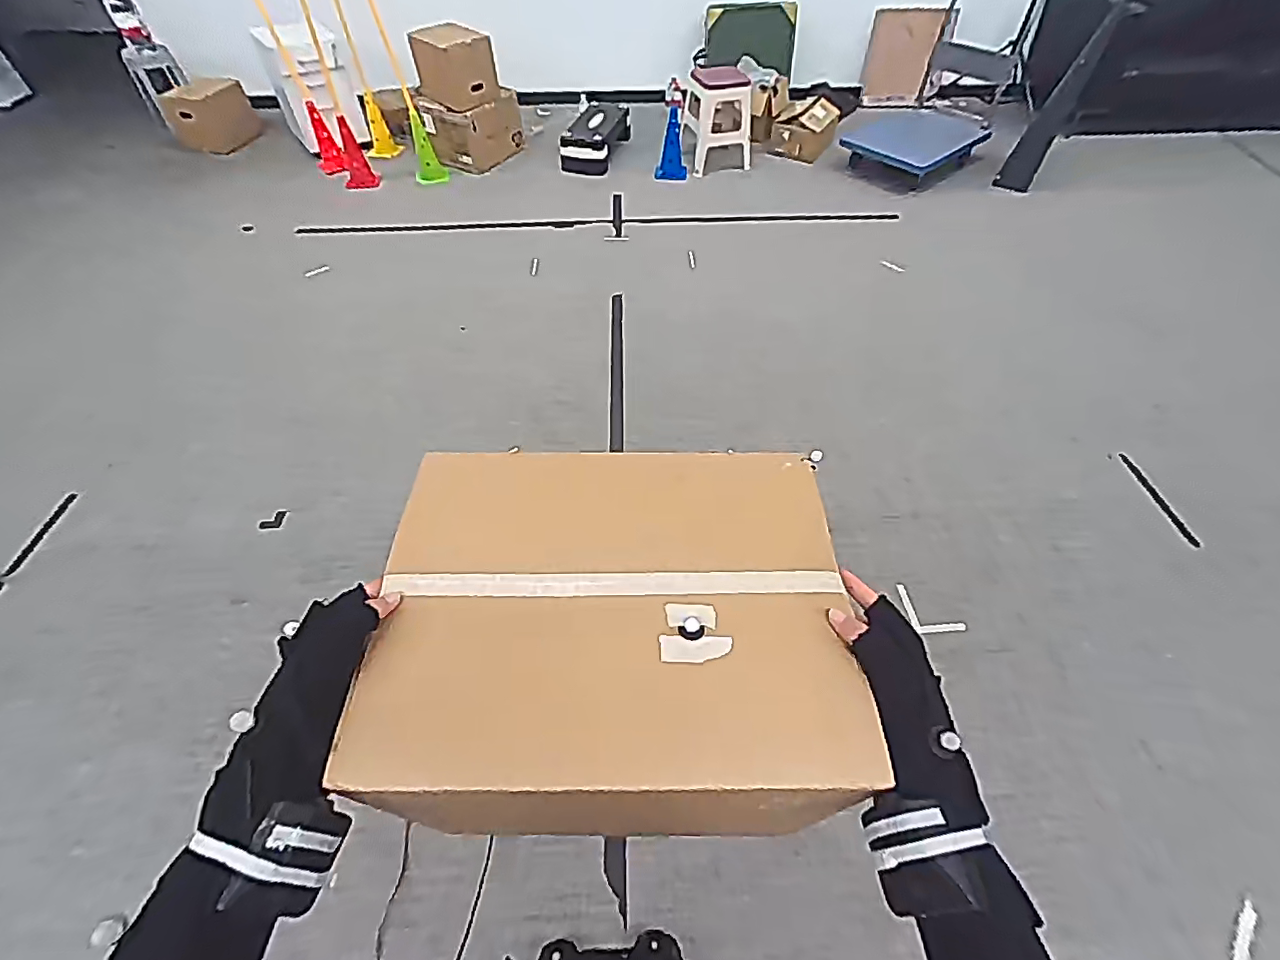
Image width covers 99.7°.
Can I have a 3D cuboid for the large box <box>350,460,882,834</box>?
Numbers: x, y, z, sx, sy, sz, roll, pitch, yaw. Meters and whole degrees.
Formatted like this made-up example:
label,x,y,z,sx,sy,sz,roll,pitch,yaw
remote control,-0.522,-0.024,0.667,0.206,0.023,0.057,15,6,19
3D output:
label,x,y,z,sx,sy,sz,roll,pitch,yaw
large box,-0.020,0.192,0.606,0.408,0.320,0.320,0,51,0
